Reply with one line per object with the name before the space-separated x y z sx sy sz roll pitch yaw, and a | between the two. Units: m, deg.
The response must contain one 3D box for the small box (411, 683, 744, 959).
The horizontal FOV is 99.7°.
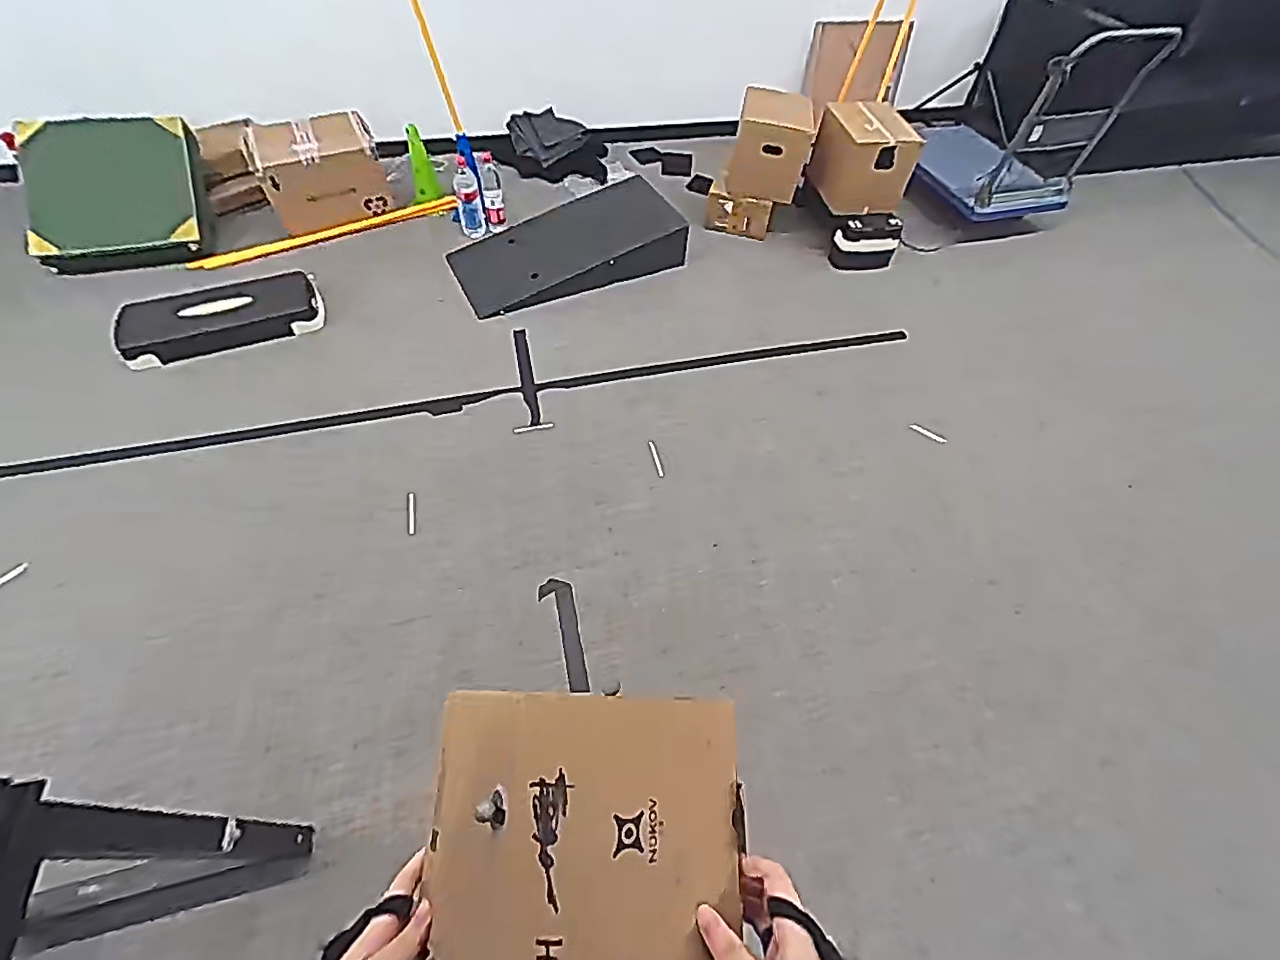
small box | -0.046 0.242 0.399 0.179 0.176 0.168 16 64 -31
